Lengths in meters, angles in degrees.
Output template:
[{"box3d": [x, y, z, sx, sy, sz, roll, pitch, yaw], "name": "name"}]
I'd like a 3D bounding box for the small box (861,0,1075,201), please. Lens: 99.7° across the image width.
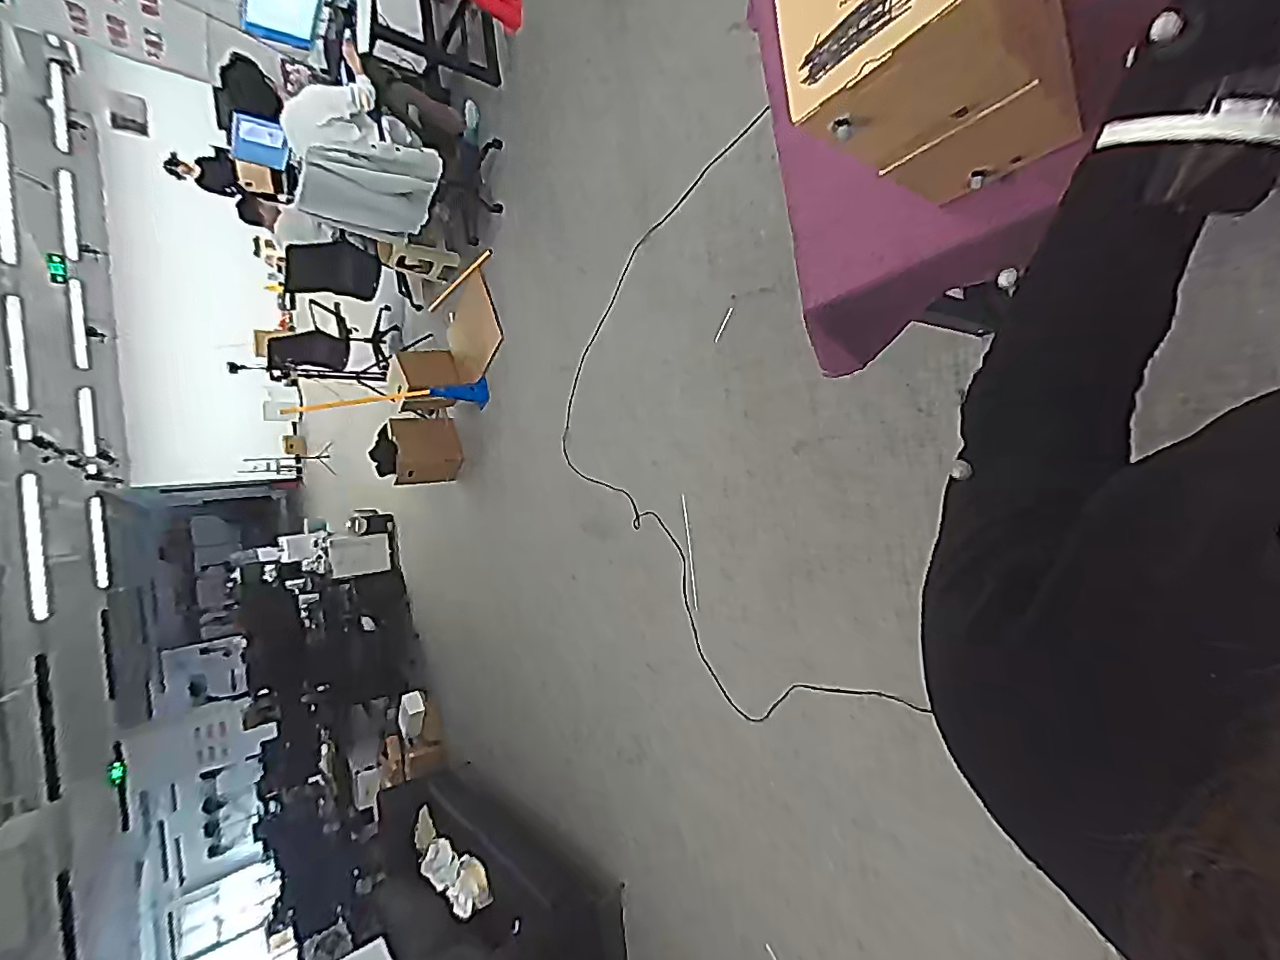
[{"box3d": [0.394, -0.474, 0.653, 0.168, 0.176, 0.179, -10, 88, 51], "name": "small box"}]
